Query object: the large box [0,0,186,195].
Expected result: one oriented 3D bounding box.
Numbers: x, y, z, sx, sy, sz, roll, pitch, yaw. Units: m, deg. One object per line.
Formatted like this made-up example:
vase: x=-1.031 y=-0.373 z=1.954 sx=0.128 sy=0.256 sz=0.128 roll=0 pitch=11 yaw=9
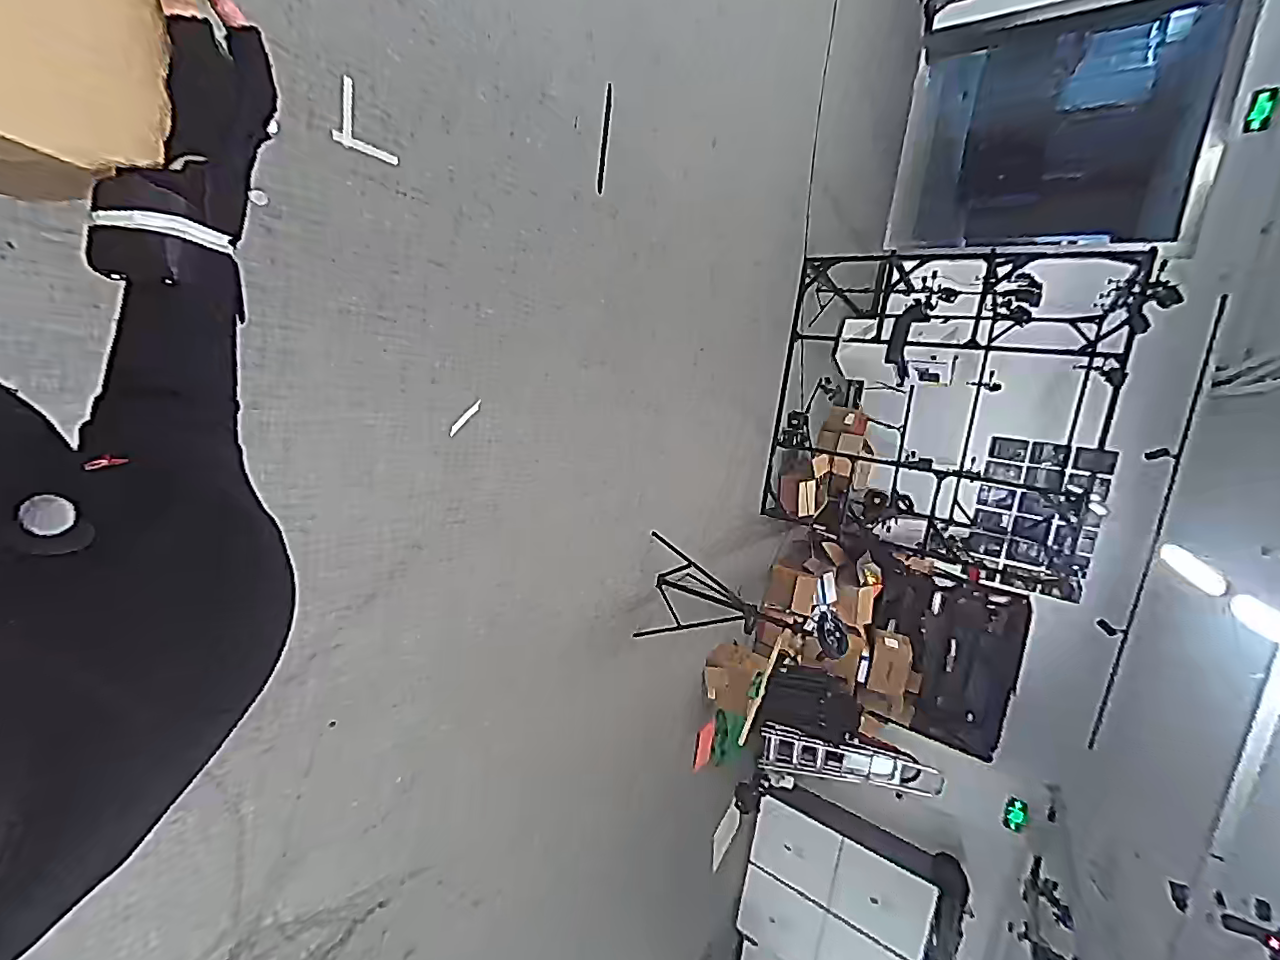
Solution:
large box: x=-0.551 y=-0.404 z=0.290 sx=0.408 sy=0.320 sz=0.320 roll=6 pitch=99 yaw=-62
